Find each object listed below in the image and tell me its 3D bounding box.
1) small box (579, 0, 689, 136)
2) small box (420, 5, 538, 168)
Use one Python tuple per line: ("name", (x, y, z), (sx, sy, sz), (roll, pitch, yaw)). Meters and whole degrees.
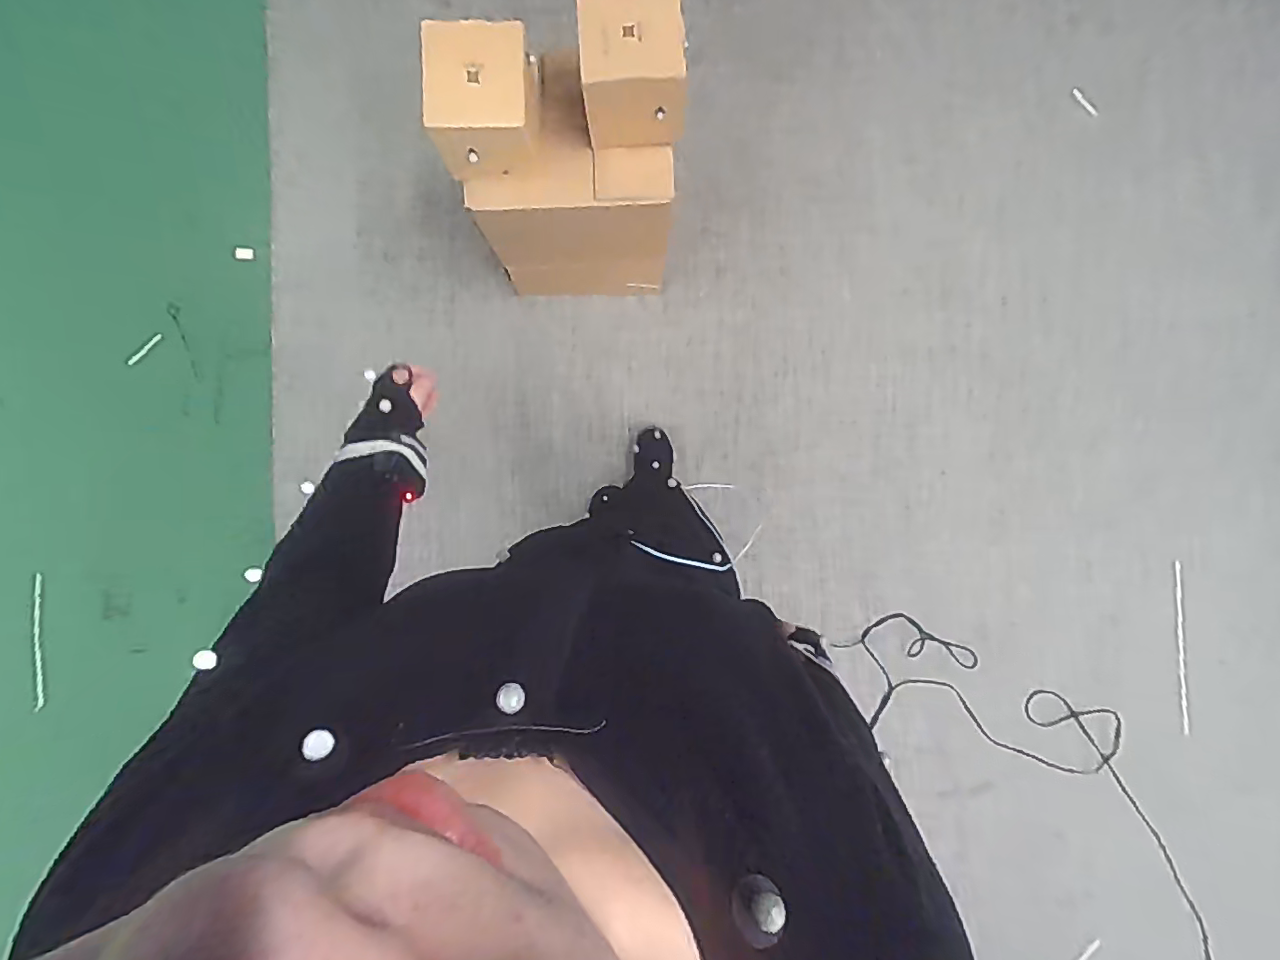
("small box", (-0.011, -0.741, 0.954), (0.179, 0.176, 0.168), (-2, 89, 0))
("small box", (-0.273, -0.676, 0.949), (0.168, 0.176, 0.179), (0, 91, -3))
